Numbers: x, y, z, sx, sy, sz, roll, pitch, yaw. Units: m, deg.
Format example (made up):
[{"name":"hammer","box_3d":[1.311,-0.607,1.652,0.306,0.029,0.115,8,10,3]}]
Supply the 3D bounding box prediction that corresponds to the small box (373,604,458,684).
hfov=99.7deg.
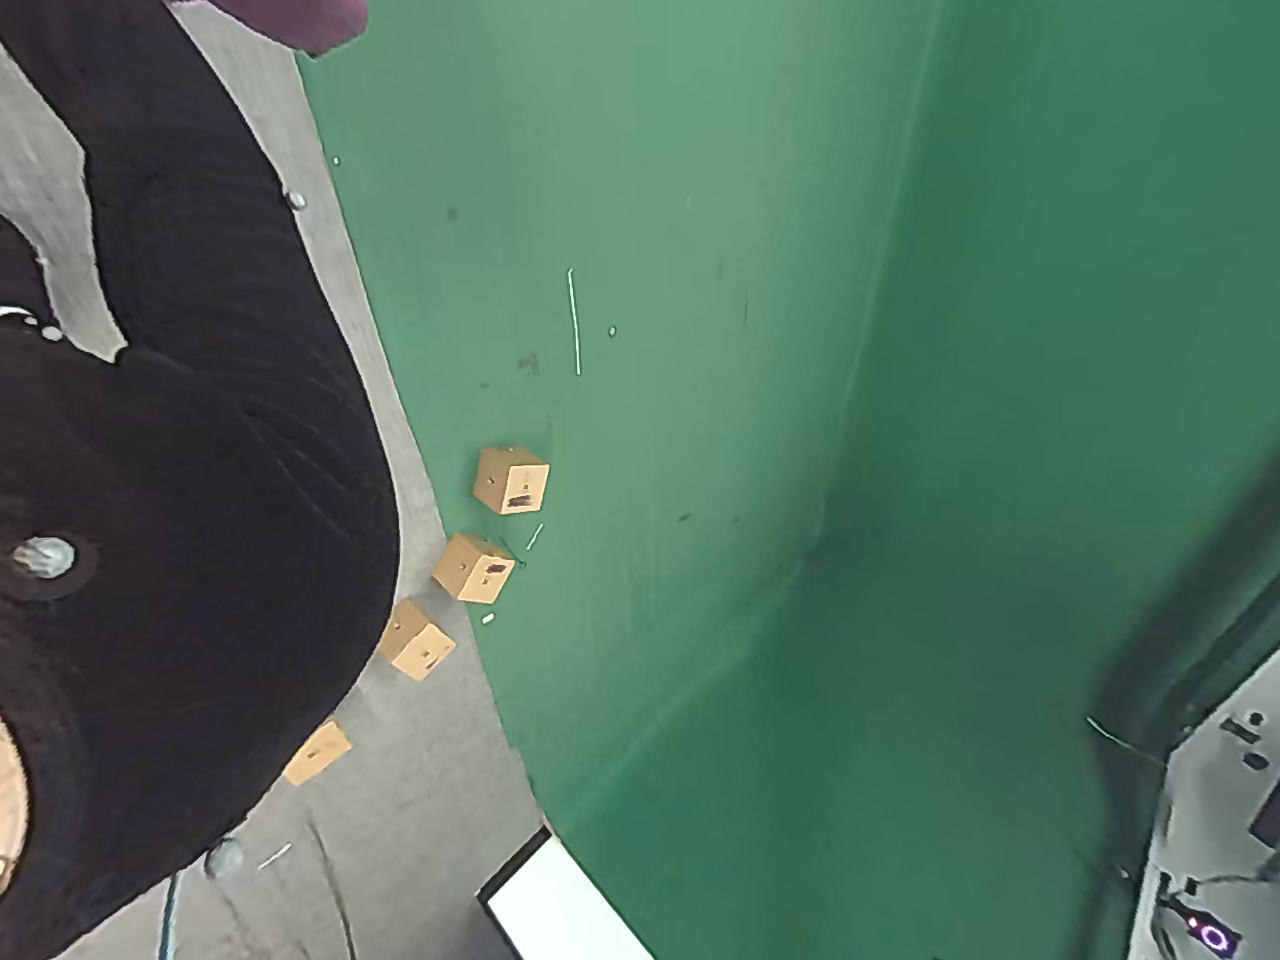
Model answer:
[{"name":"small box","box_3d":[-0.761,0.546,1.827,0.168,0.176,0.179,-45,141,-21]}]

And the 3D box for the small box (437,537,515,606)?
[{"name":"small box","box_3d":[-0.580,0.319,1.898,0.168,0.176,0.179,28,91,-55]}]

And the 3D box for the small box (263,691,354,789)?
[{"name":"small box","box_3d":[-1.027,0.796,1.667,0.179,0.176,0.168,-33,136,-33]}]
